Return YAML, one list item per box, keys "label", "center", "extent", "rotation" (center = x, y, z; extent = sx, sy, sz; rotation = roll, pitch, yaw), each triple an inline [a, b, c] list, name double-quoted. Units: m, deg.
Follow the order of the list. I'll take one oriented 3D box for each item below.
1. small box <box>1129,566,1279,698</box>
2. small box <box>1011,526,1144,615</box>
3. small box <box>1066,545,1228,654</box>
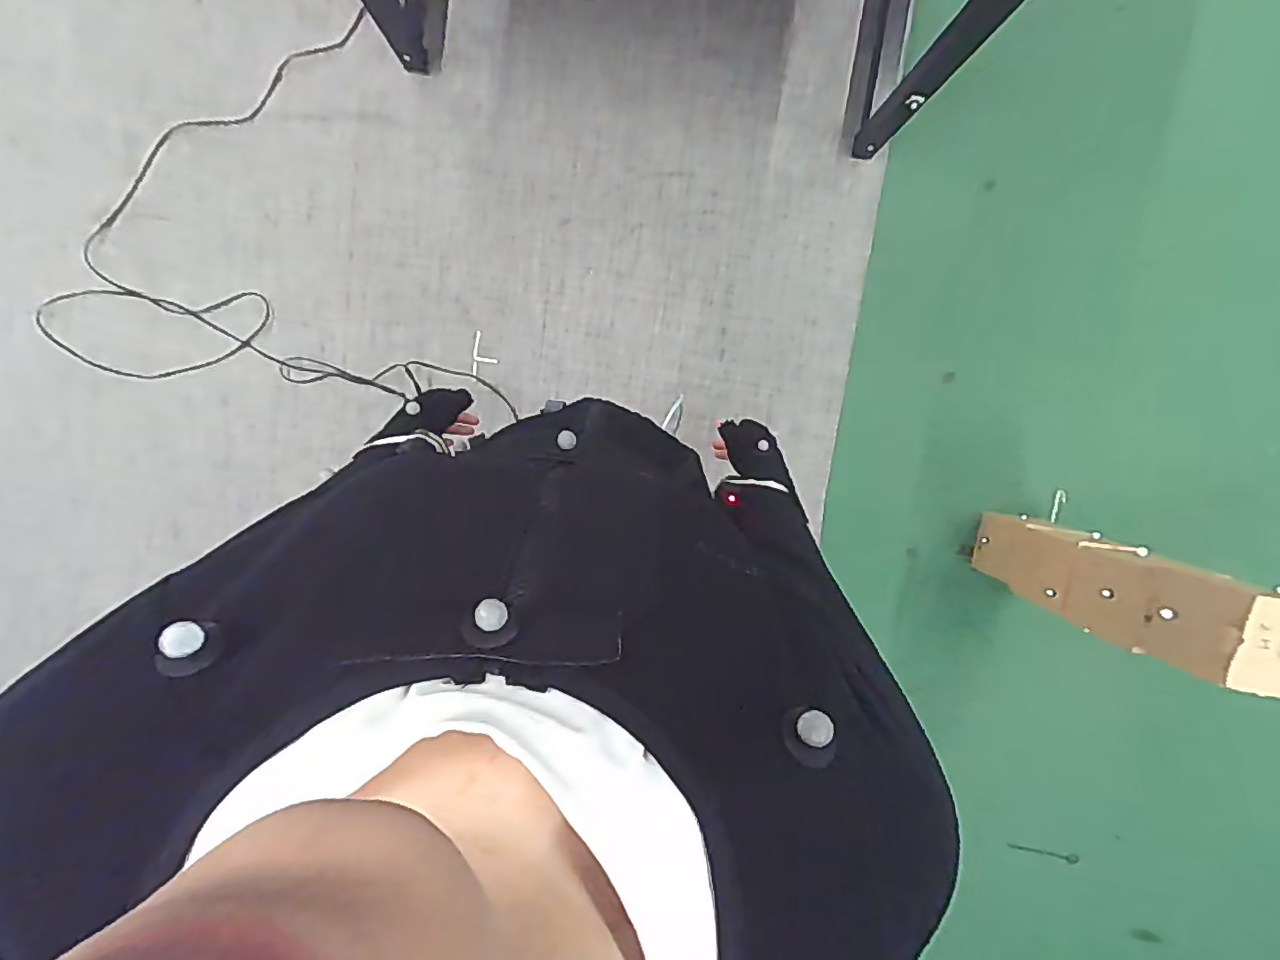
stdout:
- label: "small box"
  center: [1.053, 0.267, 0.969]
  extent: [0.179, 0.176, 0.168]
  rotation: [12, 98, -3]
- label: "small box"
  center: [1.034, 0.216, 1.294]
  extent: [0.168, 0.176, 0.179]
  rotation: [8, 99, -2]
- label: "small box"
  center: [1.046, 0.249, 1.133]
  extent: [0.168, 0.176, 0.179]
  rotation: [7, 98, -2]
